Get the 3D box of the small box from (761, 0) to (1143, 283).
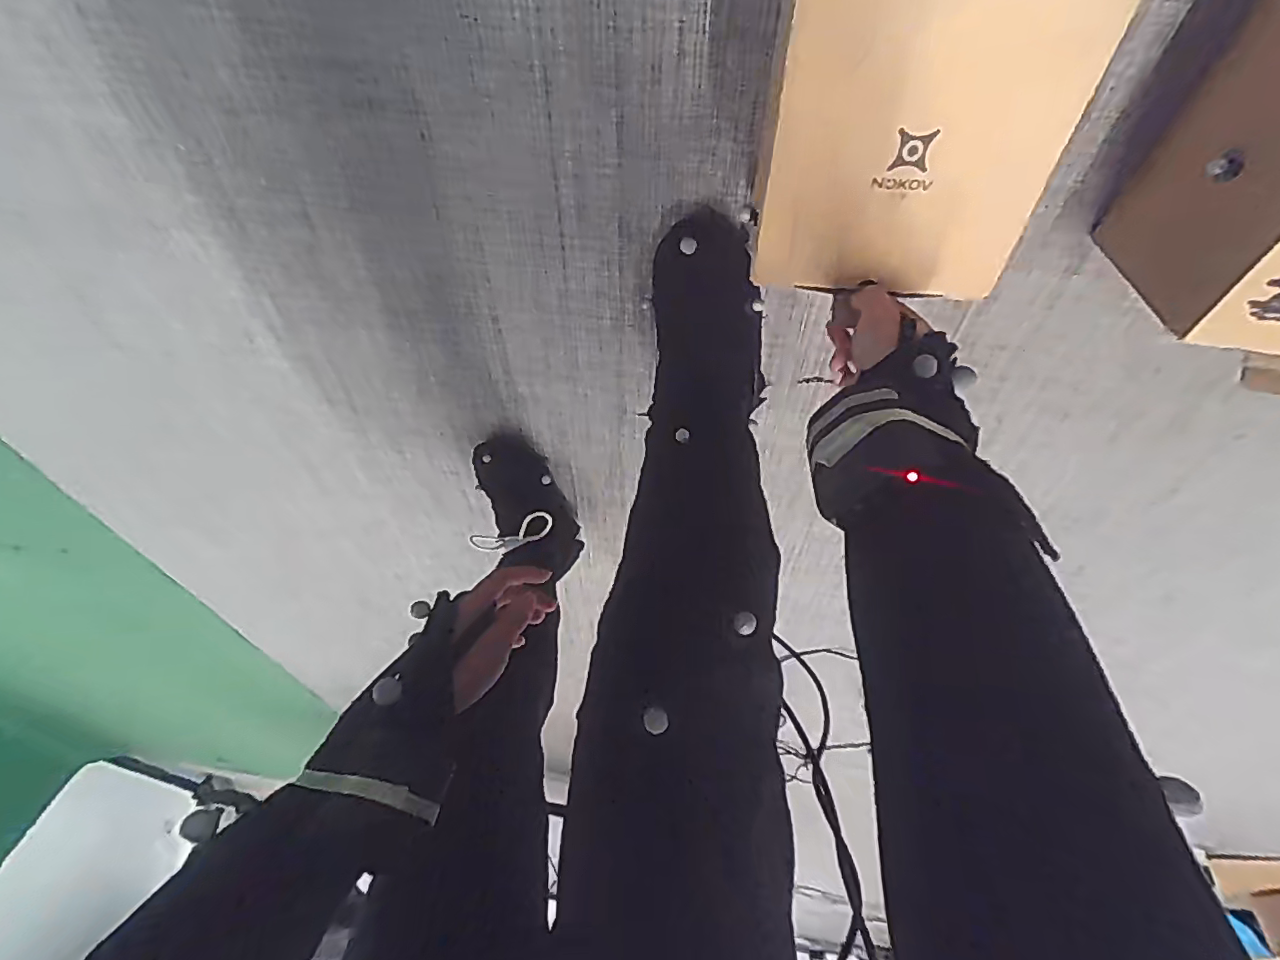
[{"bbox_3d":[0.176,-0.259,0.369,0.168,0.176,0.179,6,138,7],"label":"small box"}]
